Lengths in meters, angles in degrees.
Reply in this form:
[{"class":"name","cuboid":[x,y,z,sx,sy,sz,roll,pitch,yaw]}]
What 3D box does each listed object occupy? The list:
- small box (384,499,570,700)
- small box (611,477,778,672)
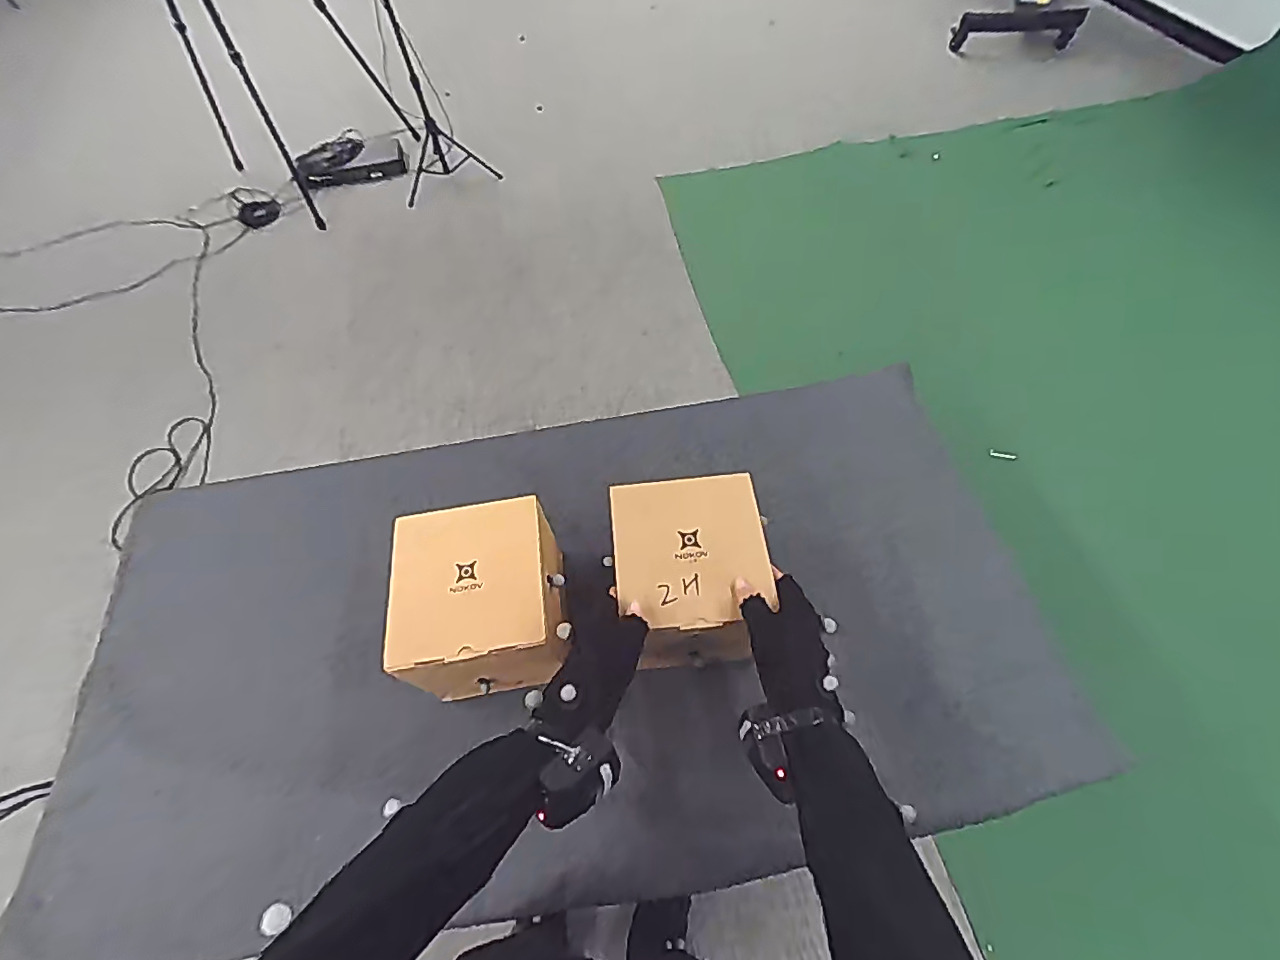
[{"class":"small box","cuboid":[-0.184,0.148,0.654,0.168,0.176,0.179,-10,58,-2]},{"class":"small box","cuboid":[0.055,0.119,0.655,0.168,0.176,0.179,-6,58,-1]}]
